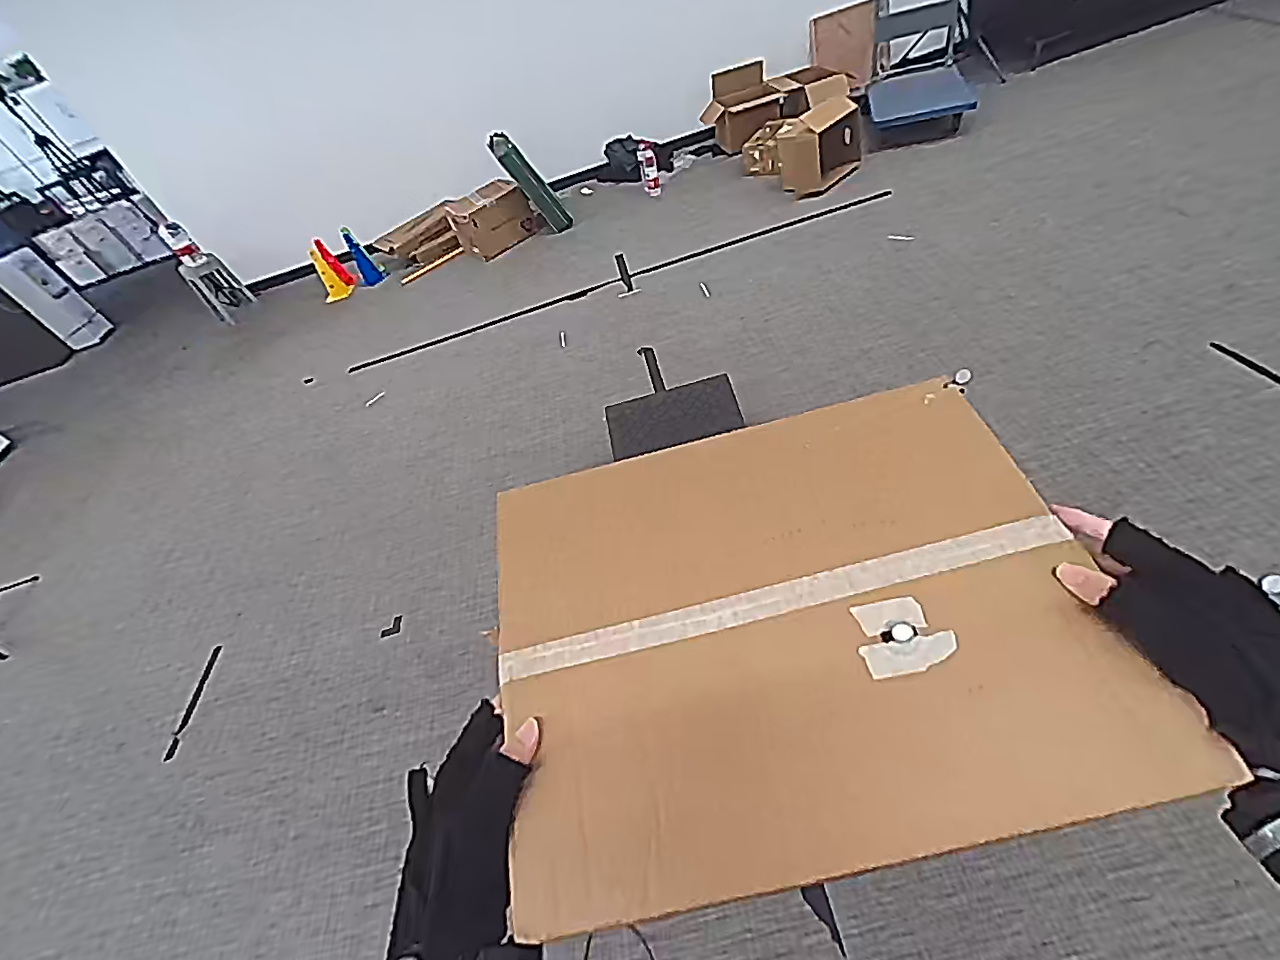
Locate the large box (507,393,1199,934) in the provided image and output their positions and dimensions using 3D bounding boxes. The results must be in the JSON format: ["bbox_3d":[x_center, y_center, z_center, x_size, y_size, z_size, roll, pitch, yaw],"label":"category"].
[{"bbox_3d":[0.124,0.177,0.517,0.408,0.320,0.320,-15,55,2],"label":"large box"}]
